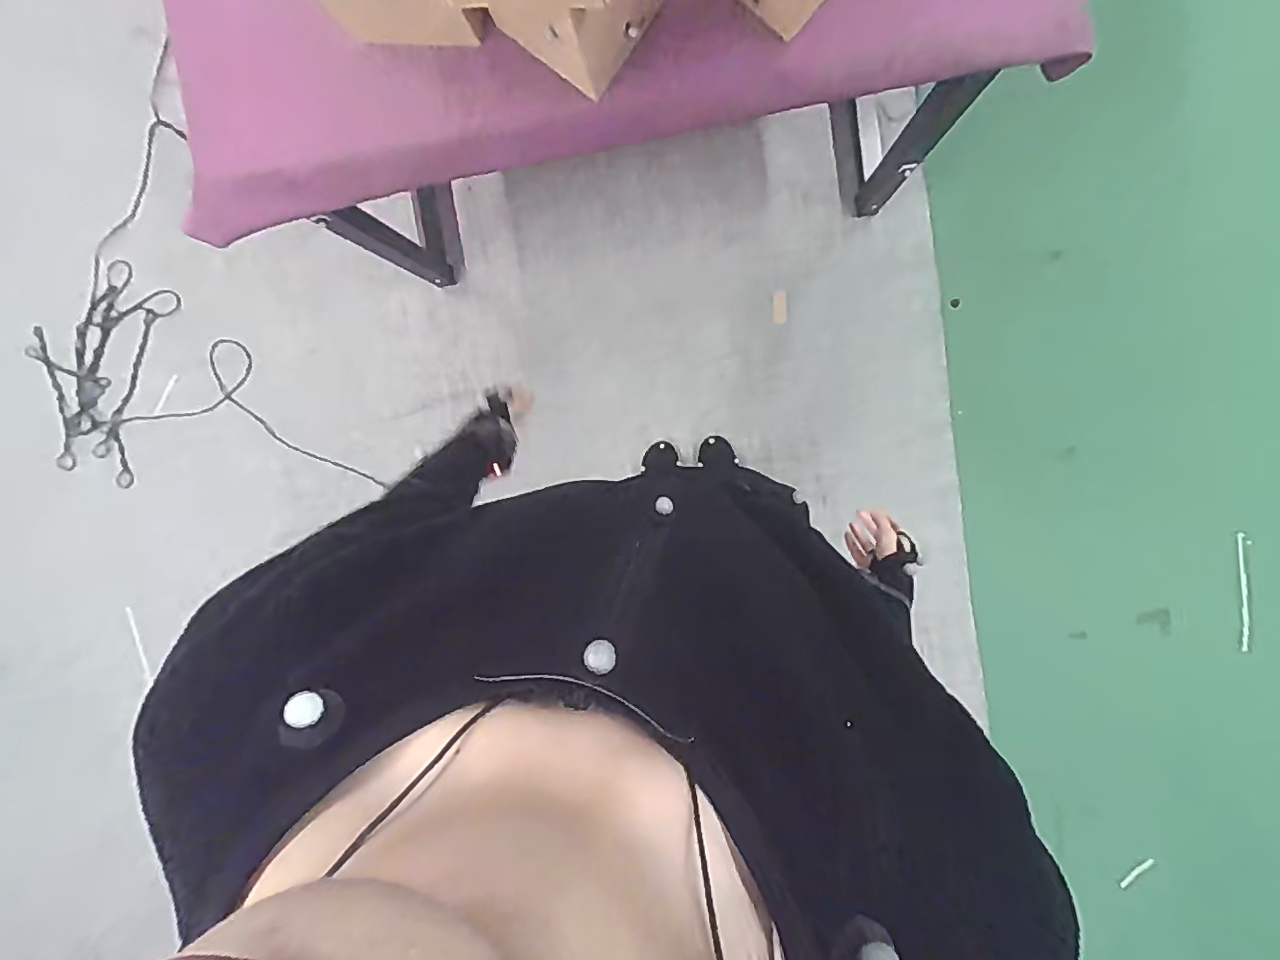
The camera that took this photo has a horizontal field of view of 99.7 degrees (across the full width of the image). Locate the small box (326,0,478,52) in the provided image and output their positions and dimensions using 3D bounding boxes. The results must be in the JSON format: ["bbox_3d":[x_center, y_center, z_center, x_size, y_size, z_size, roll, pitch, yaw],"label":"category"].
[{"bbox_3d":[-0.305,-0.666,0.654,0.179,0.176,0.168,8,96,-2],"label":"small box"}]

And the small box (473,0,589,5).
[{"bbox_3d":[-0.122,-0.570,0.479,0.179,0.176,0.168,4,96,5],"label":"small box"}]

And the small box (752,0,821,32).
[{"bbox_3d":[0.180,-0.672,0.603,0.168,0.176,0.179,43,99,0],"label":"small box"}]
